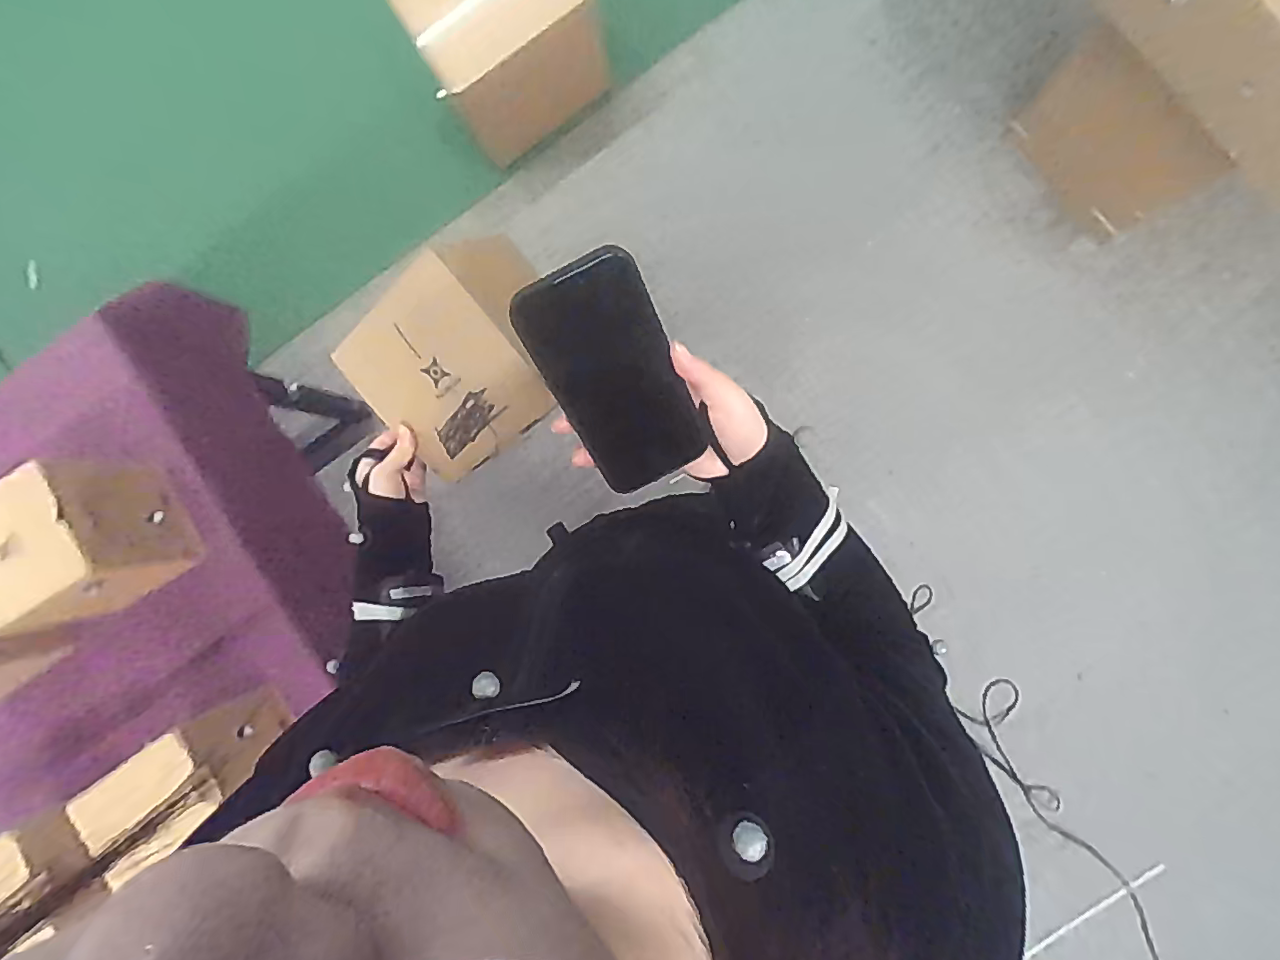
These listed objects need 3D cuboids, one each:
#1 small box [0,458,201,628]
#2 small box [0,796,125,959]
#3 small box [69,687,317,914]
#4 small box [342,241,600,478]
[{"bbox_3d":[-0.789,0.087,0.764,0.179,0.176,0.168,-30,86,3],"label":"small box"},{"bbox_3d":[-0.808,0.544,0.751,0.179,0.176,0.168,-28,87,3],"label":"small box"},{"bbox_3d":[-0.585,0.417,0.737,0.179,0.176,0.168,-35,85,4],"label":"small box"},{"bbox_3d":[-0.169,-0.139,0.597,0.168,0.176,0.179,-32,106,25],"label":"small box"}]
